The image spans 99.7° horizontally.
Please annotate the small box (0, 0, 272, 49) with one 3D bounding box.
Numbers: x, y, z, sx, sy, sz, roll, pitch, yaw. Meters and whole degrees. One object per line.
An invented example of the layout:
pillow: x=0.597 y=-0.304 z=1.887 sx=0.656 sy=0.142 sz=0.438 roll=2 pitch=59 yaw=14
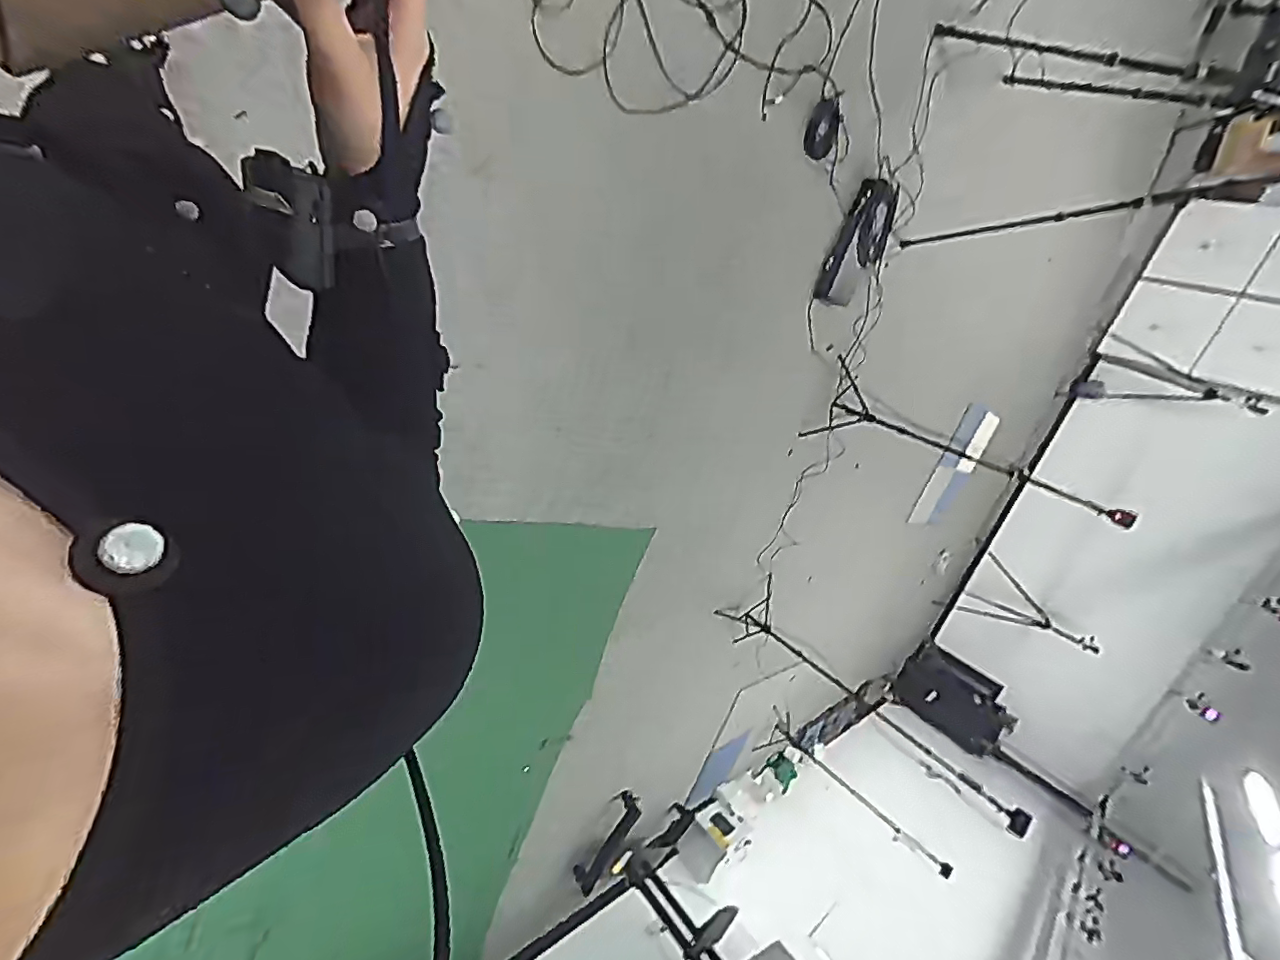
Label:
small box: x=-0.197 y=-0.275 z=0.174 sx=0.168 sy=0.176 sz=0.179 roll=-47 pitch=134 yaw=-26
